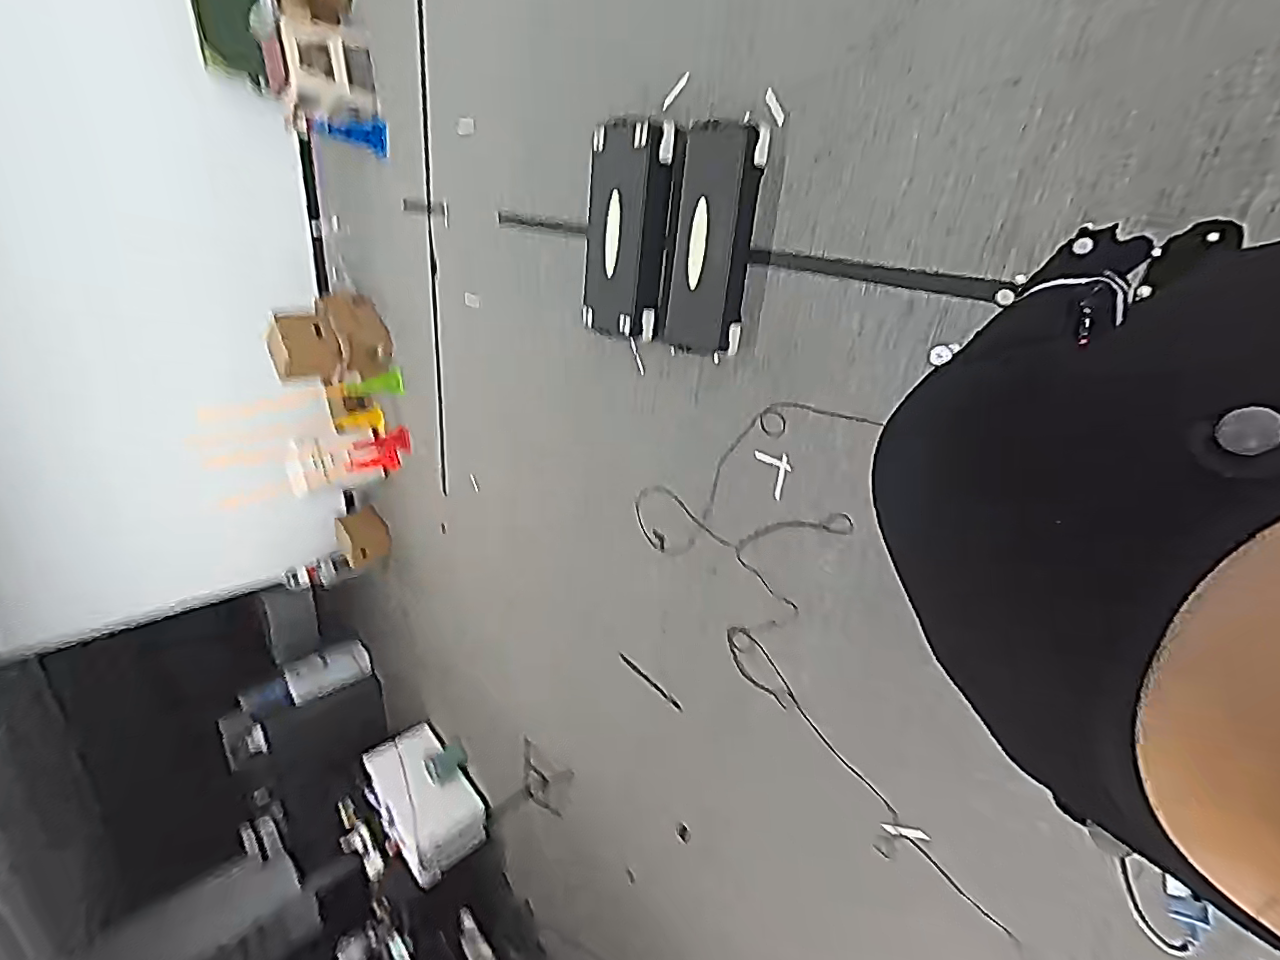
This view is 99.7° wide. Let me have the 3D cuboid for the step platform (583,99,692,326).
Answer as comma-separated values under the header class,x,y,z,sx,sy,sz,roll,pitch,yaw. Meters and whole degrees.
class,x,y,z,sx,sy,sz,roll,pitch,yaw
step platform,-0.024,-0.886,1.848,0.286,0.204,0.684,26,119,39
